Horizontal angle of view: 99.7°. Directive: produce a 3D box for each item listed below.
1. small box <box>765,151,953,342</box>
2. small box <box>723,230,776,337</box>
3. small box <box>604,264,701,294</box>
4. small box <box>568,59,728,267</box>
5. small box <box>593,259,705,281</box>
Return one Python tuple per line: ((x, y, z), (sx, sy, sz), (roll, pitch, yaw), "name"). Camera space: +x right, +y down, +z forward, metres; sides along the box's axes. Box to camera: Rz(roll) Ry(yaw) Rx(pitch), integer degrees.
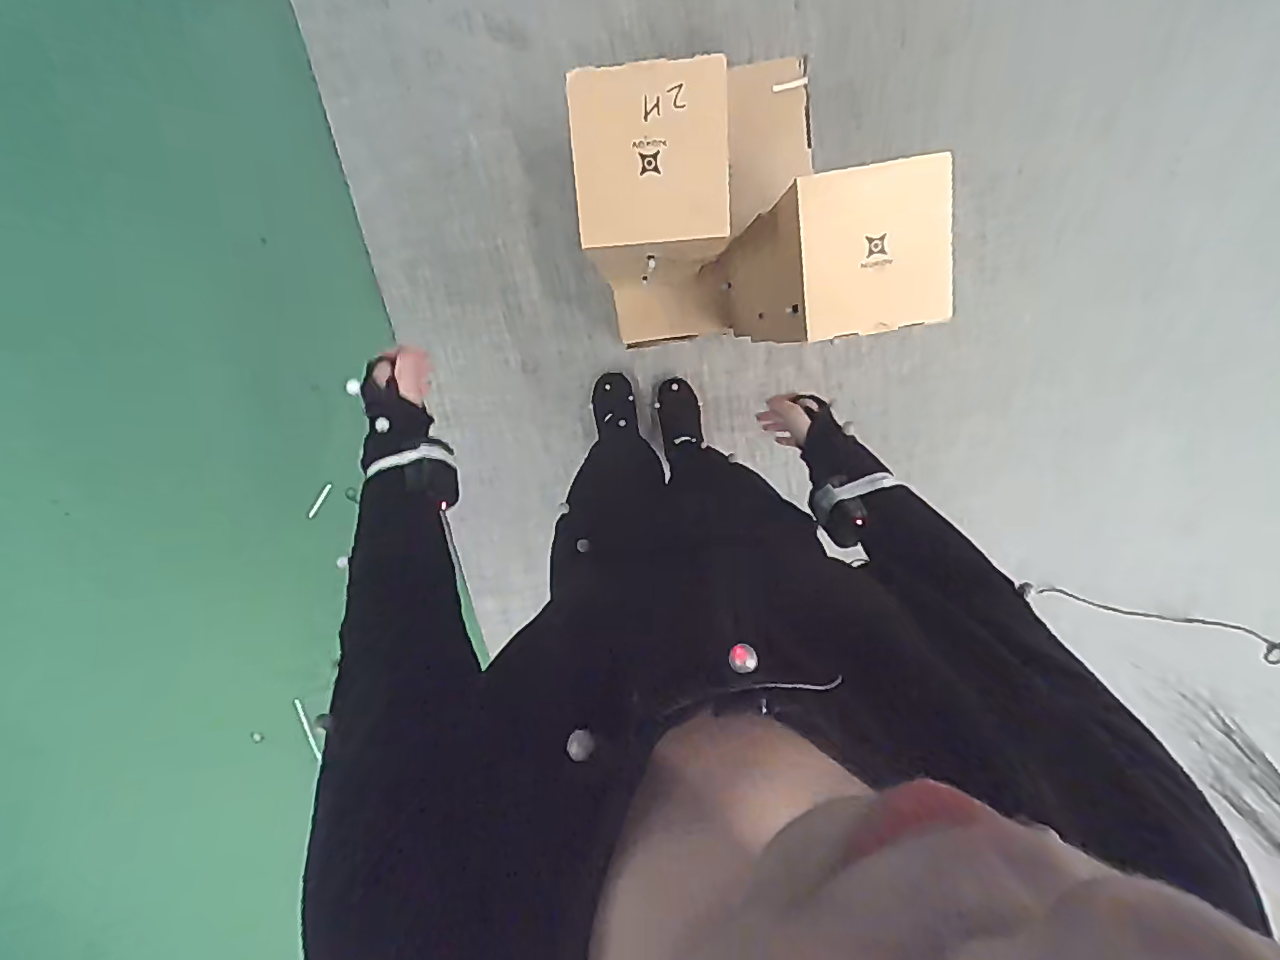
((0.258, -0.272, 0.670), (0.168, 0.176, 0.179), (-9, 104, 3), "small box")
((0.257, -0.360, 0.985), (0.179, 0.176, 0.168), (-10, 103, 4), "small box")
((0.011, -0.446, 0.969), (0.168, 0.176, 0.179), (-9, 102, 4), "small box")
((0.014, -0.359, 0.650), (0.168, 0.176, 0.179), (-3, 103, 2), "small box")
((0.015, -0.404, 0.806), (0.179, 0.176, 0.168), (-9, 103, 6), "small box")
